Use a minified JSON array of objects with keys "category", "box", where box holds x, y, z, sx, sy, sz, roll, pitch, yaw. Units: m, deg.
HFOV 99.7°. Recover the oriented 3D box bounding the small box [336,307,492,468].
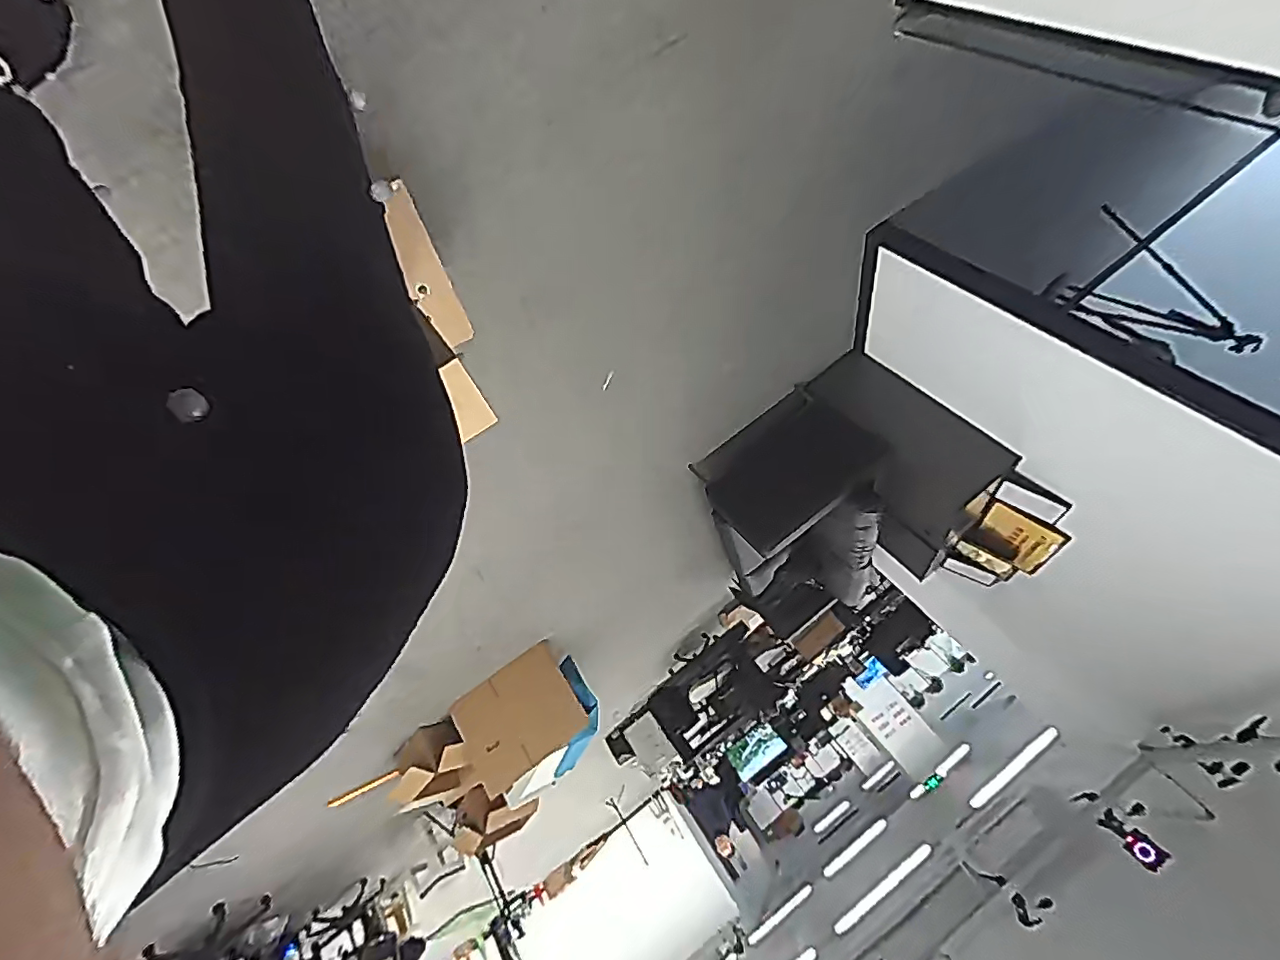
[{"category":"small box","box":[-0.393,-0.161,0.935,0.179,0.176,0.168,-36,149,-11]}]
